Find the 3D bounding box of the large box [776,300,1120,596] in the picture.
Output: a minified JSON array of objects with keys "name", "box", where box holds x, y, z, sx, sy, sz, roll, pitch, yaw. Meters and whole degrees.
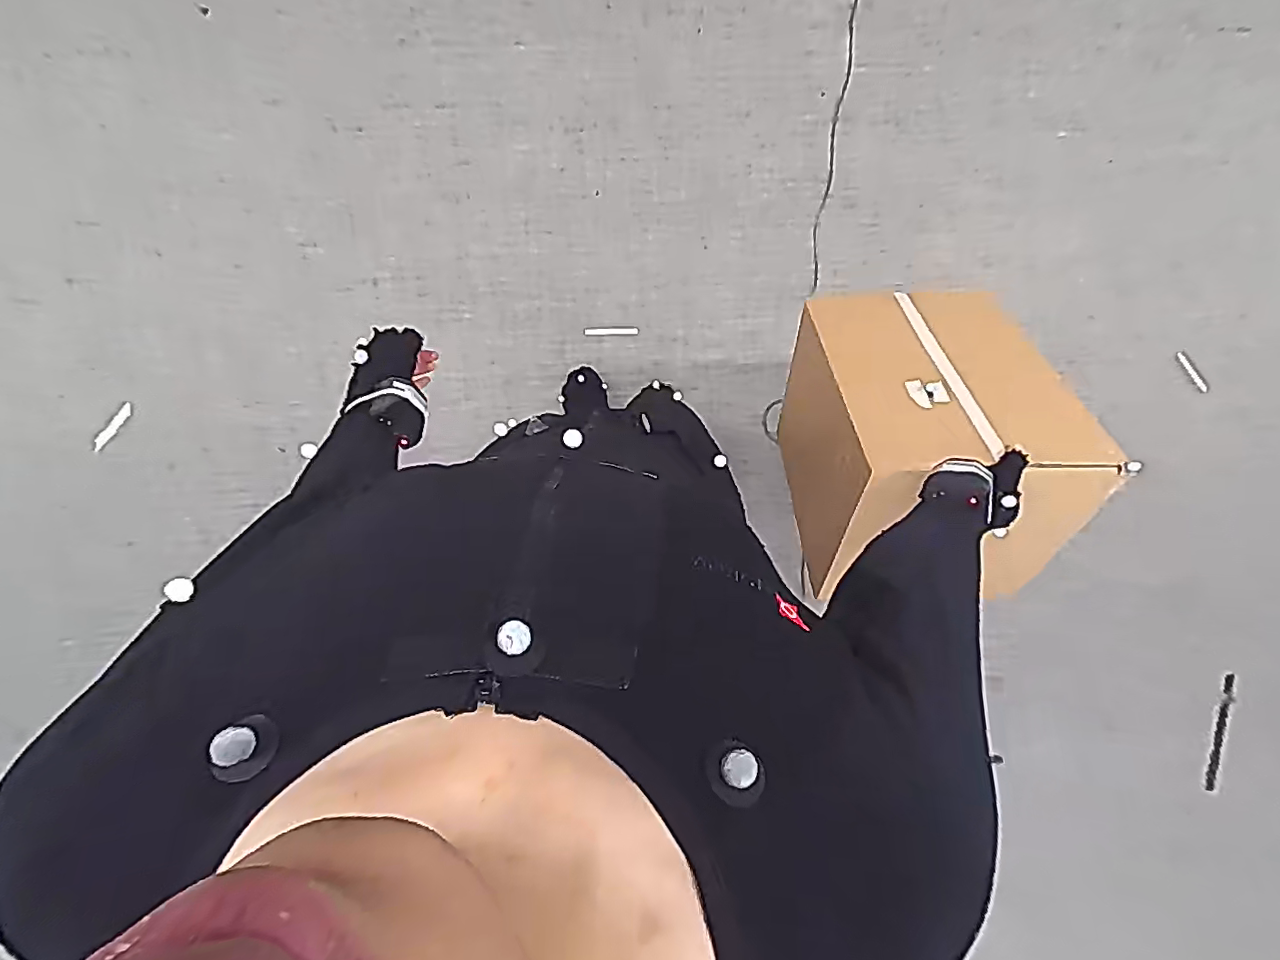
[{"name":"large box","box":[0.440,-0.056,0.907,0.320,0.408,0.320,-1,139,1]}]
